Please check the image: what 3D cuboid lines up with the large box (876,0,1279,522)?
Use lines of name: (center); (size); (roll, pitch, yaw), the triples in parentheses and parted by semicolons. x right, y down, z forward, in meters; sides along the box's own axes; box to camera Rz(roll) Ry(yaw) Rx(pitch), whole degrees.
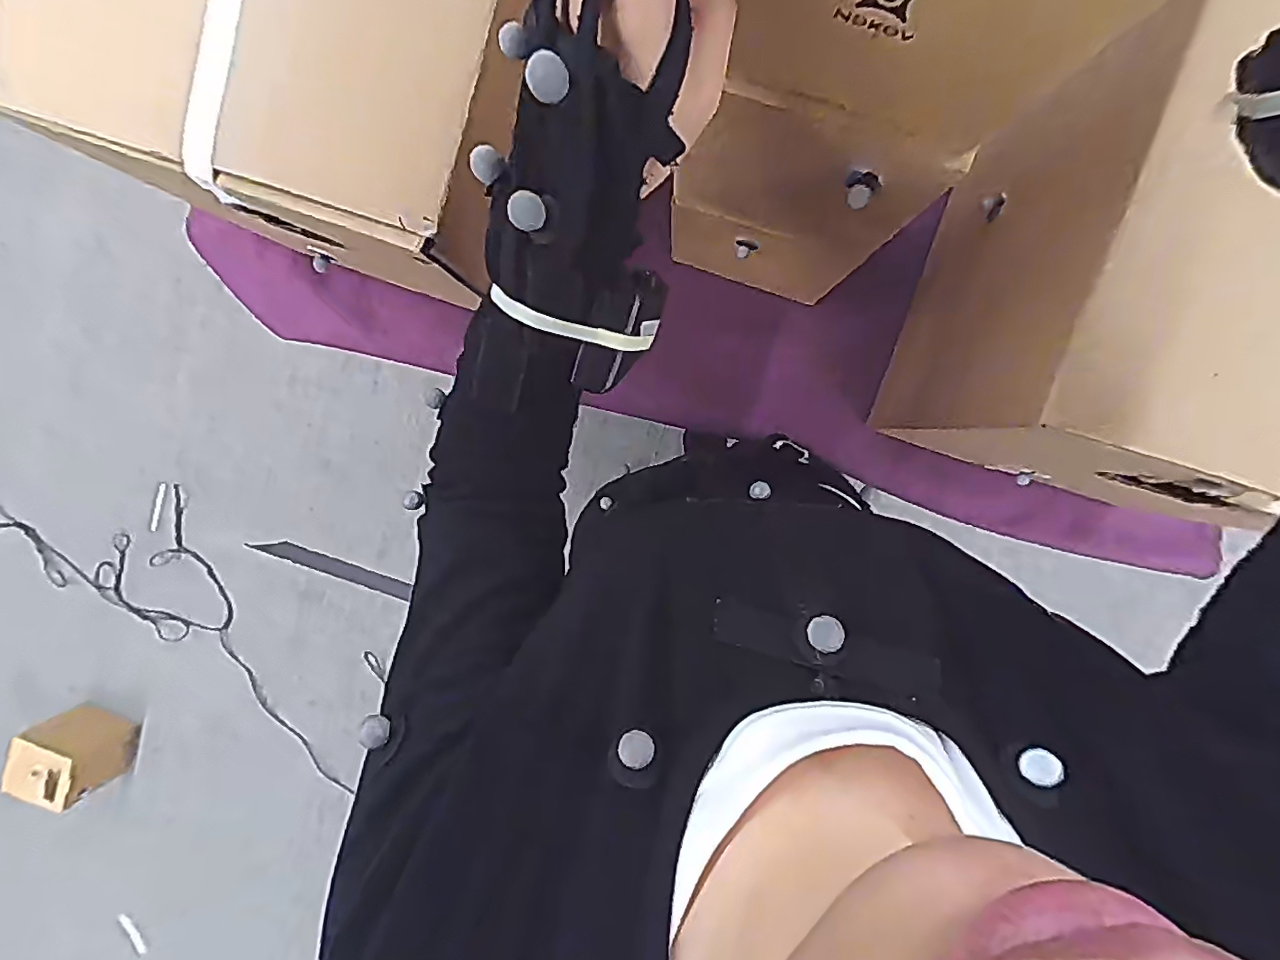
large box: (0.455, -0.194, 0.455); (0.320, 0.320, 0.408); (17, 95, 1)
